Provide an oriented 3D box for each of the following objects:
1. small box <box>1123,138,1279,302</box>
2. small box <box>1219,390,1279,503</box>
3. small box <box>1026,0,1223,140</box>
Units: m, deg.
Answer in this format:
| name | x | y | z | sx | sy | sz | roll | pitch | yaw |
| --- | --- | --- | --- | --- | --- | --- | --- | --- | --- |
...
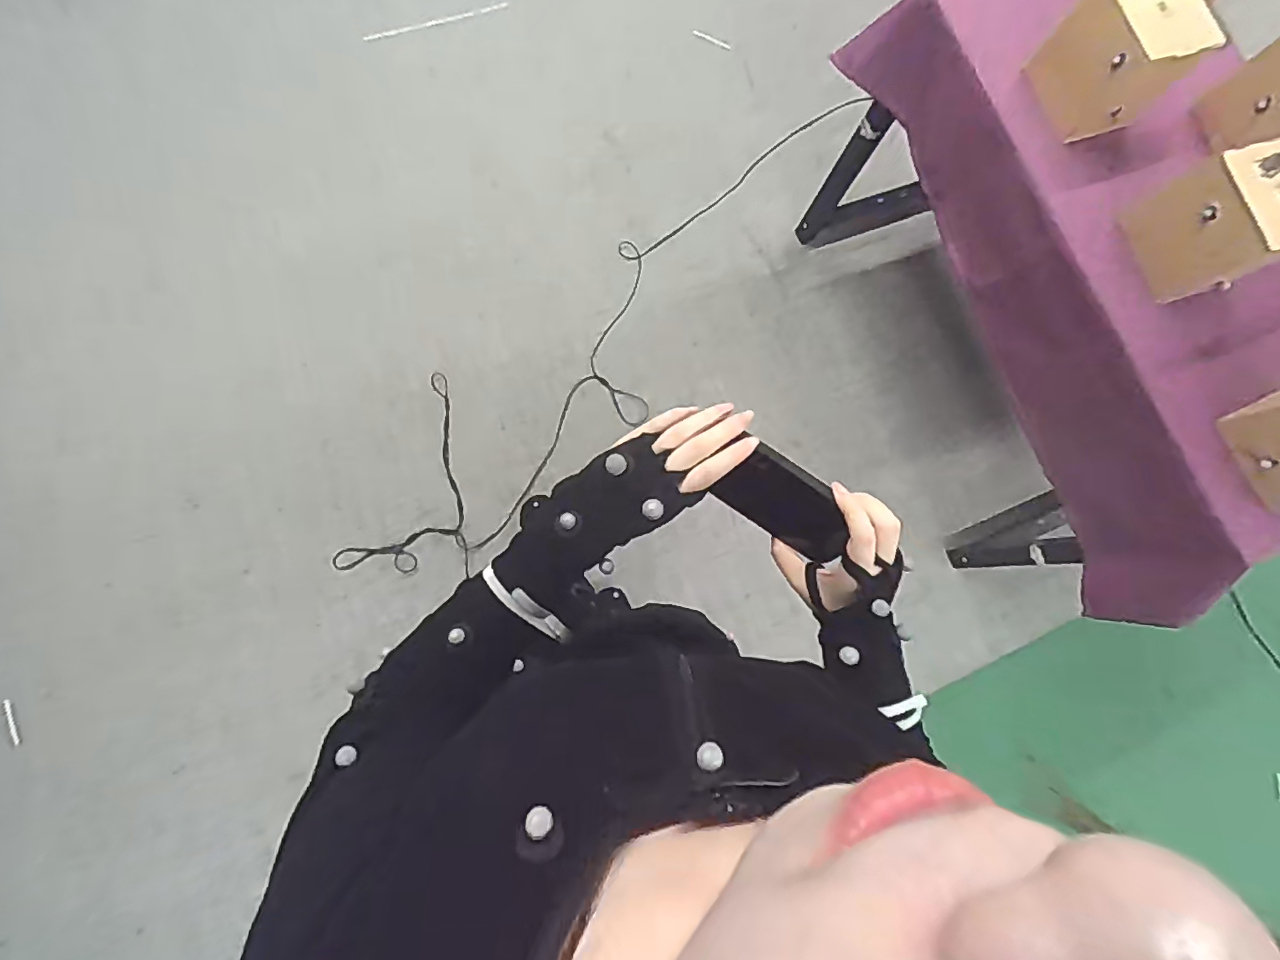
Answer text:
| name | x | y | z | sx | sy | sz | roll | pitch | yaw |
| --- | --- | --- | --- | --- | --- | --- | --- | --- | --- |
| small box | 0.988 | -0.435 | 0.917 | 0.168 | 0.176 | 0.179 | -18 | 83 | -9 |
| small box | 1.114 | -0.069 | 0.863 | 0.168 | 0.176 | 0.179 | -22 | 83 | -10 |
| small box | 0.843 | -0.754 | 0.961 | 0.168 | 0.176 | 0.179 | -19 | 83 | -10 |
